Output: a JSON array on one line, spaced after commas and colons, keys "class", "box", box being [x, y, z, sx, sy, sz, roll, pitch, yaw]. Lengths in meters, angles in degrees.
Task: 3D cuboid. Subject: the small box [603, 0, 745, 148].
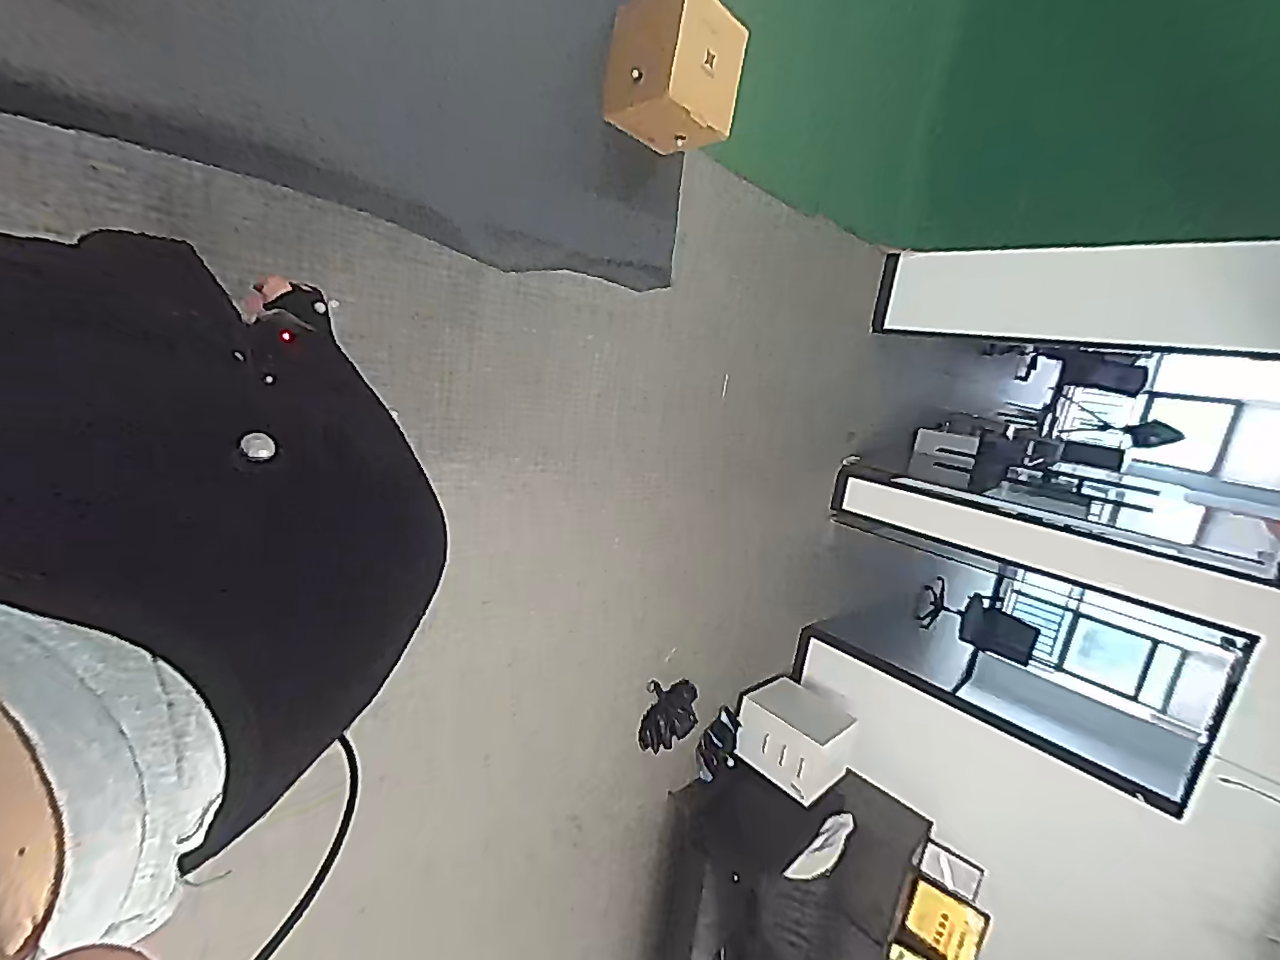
[{"class": "small box", "box": [0.054, -0.706, 0.935, 0.168, 0.176, 0.179, -3, 105, -46]}]
